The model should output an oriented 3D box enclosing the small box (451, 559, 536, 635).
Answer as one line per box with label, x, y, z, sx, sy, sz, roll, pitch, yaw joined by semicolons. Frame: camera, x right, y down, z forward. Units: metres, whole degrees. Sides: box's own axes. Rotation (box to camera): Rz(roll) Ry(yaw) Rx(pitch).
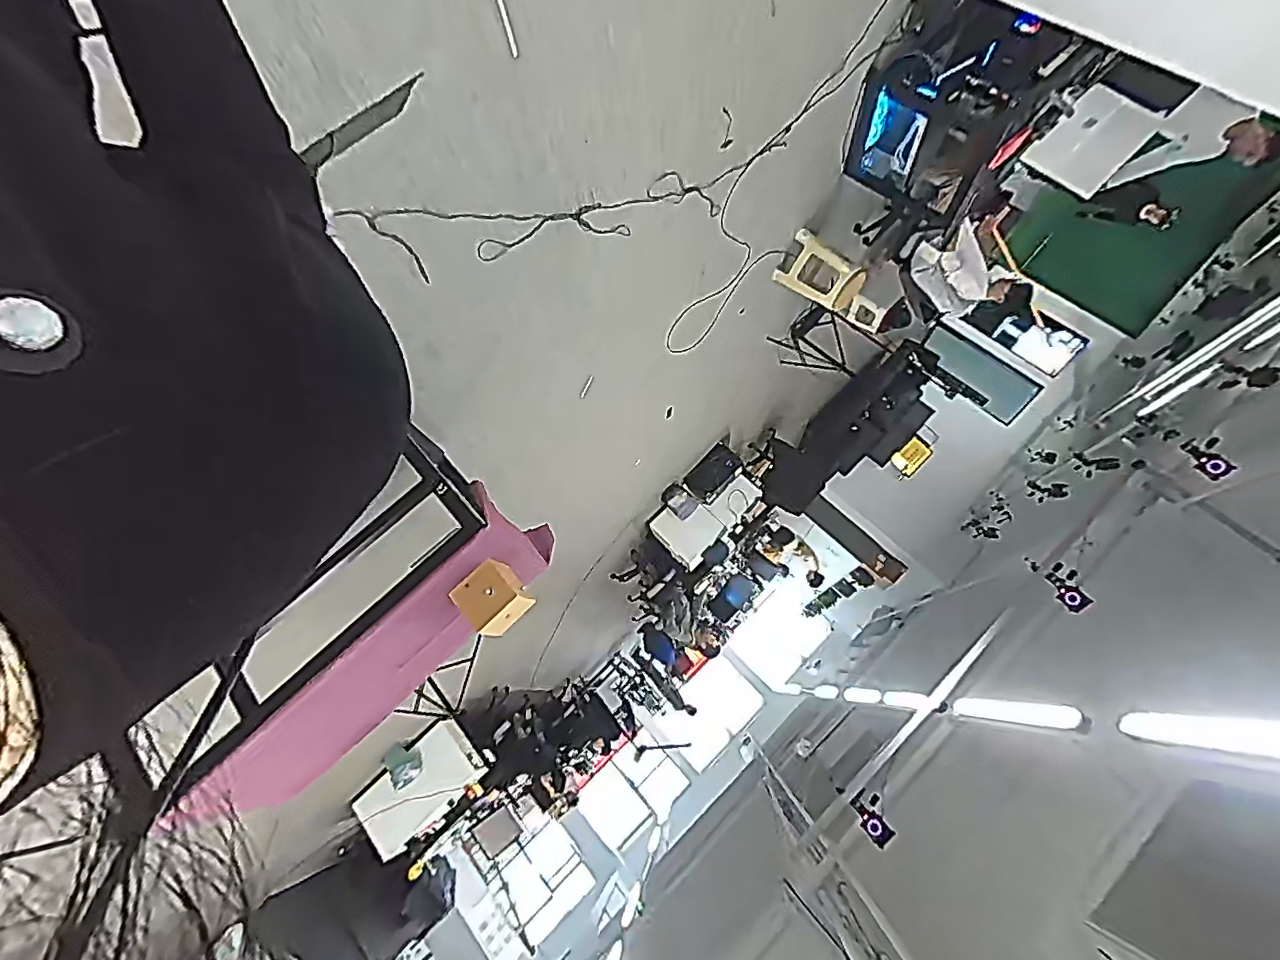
small box;-0.473;0.377;1.743;0.168;0.176;0.179;-44;161;-6
